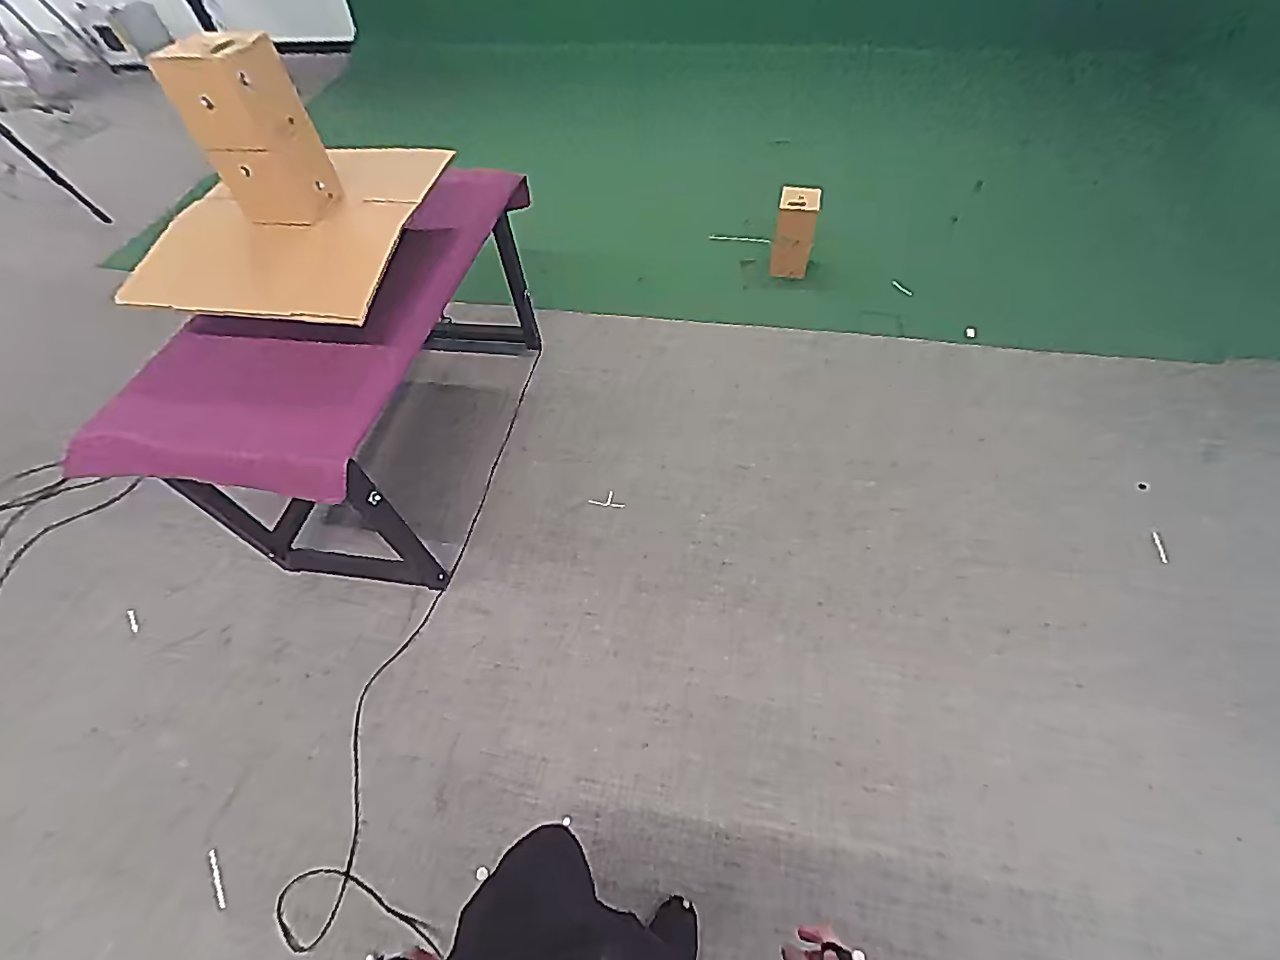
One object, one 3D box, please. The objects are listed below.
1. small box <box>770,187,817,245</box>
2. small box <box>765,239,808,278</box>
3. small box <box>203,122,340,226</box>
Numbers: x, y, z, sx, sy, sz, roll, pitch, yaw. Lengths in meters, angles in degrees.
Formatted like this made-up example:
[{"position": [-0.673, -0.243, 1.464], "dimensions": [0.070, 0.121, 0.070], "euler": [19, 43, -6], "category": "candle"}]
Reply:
[{"position": [0.677, -1.165, 2.389], "dimensions": [0.168, 0.176, 0.179], "euler": [10, 57, 9], "category": "small box"}, {"position": [0.685, -1.072, 2.524], "dimensions": [0.168, 0.176, 0.179], "euler": [9, 57, 9], "category": "small box"}, {"position": [-0.868, -0.729, 1.293], "dimensions": [0.179, 0.176, 0.168], "euler": [6, 54, 7], "category": "small box"}]
